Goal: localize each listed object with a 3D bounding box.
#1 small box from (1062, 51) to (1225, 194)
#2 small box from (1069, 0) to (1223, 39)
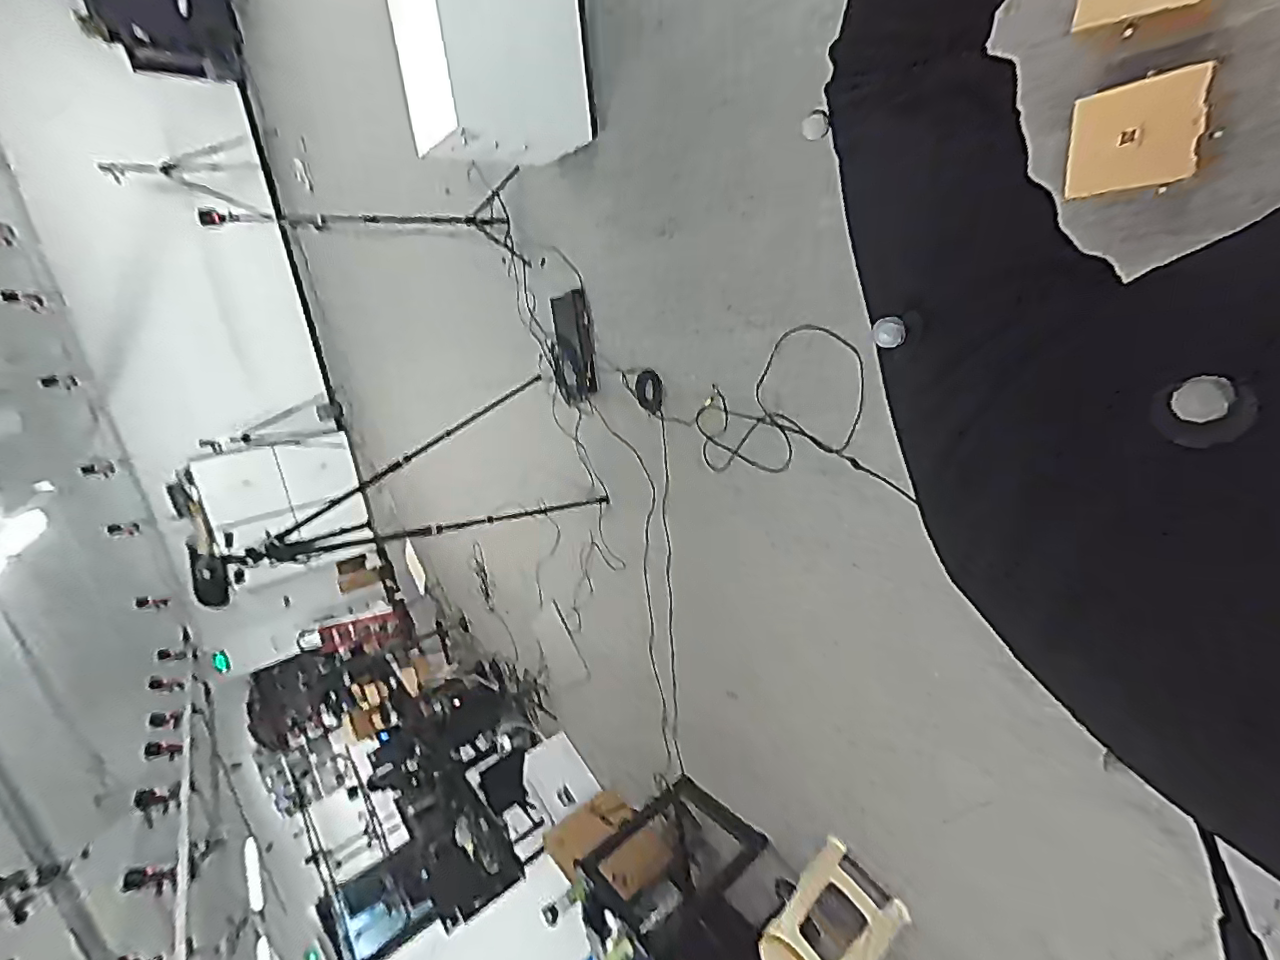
[{"bbox_3d":[0.899,-0.624,0.970,0.179,0.176,0.168,14,117,48],"label":"small box"},{"bbox_3d":[0.864,-0.869,0.899,0.179,0.176,0.168,23,124,44],"label":"small box"}]
